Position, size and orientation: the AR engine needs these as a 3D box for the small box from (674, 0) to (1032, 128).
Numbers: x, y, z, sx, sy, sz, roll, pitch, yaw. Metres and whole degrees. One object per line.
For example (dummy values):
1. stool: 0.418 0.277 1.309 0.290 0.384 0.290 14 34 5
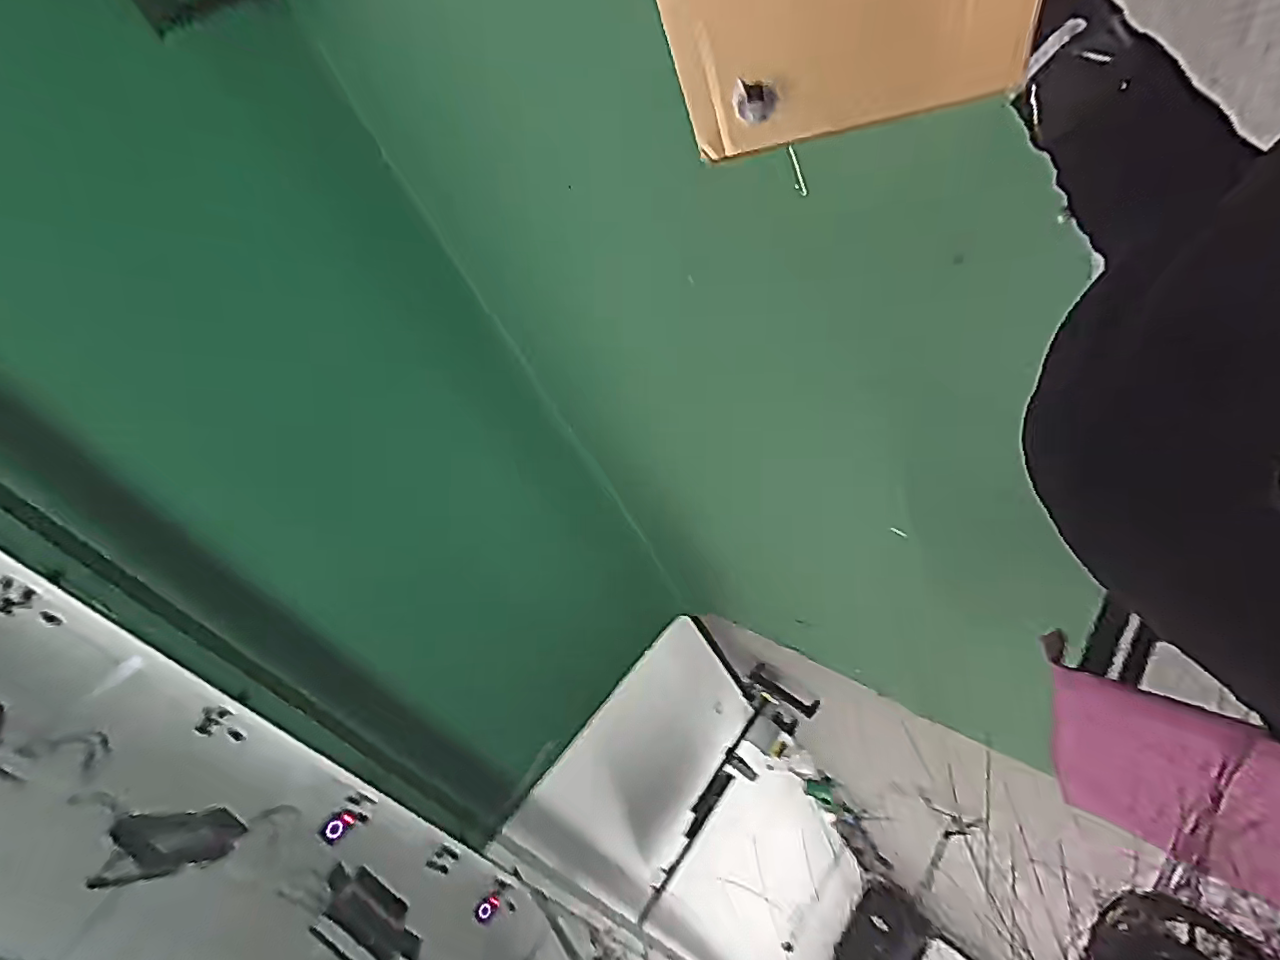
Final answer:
1. small box: 0.099 -0.327 0.267 0.179 0.168 0.176 0 155 21
